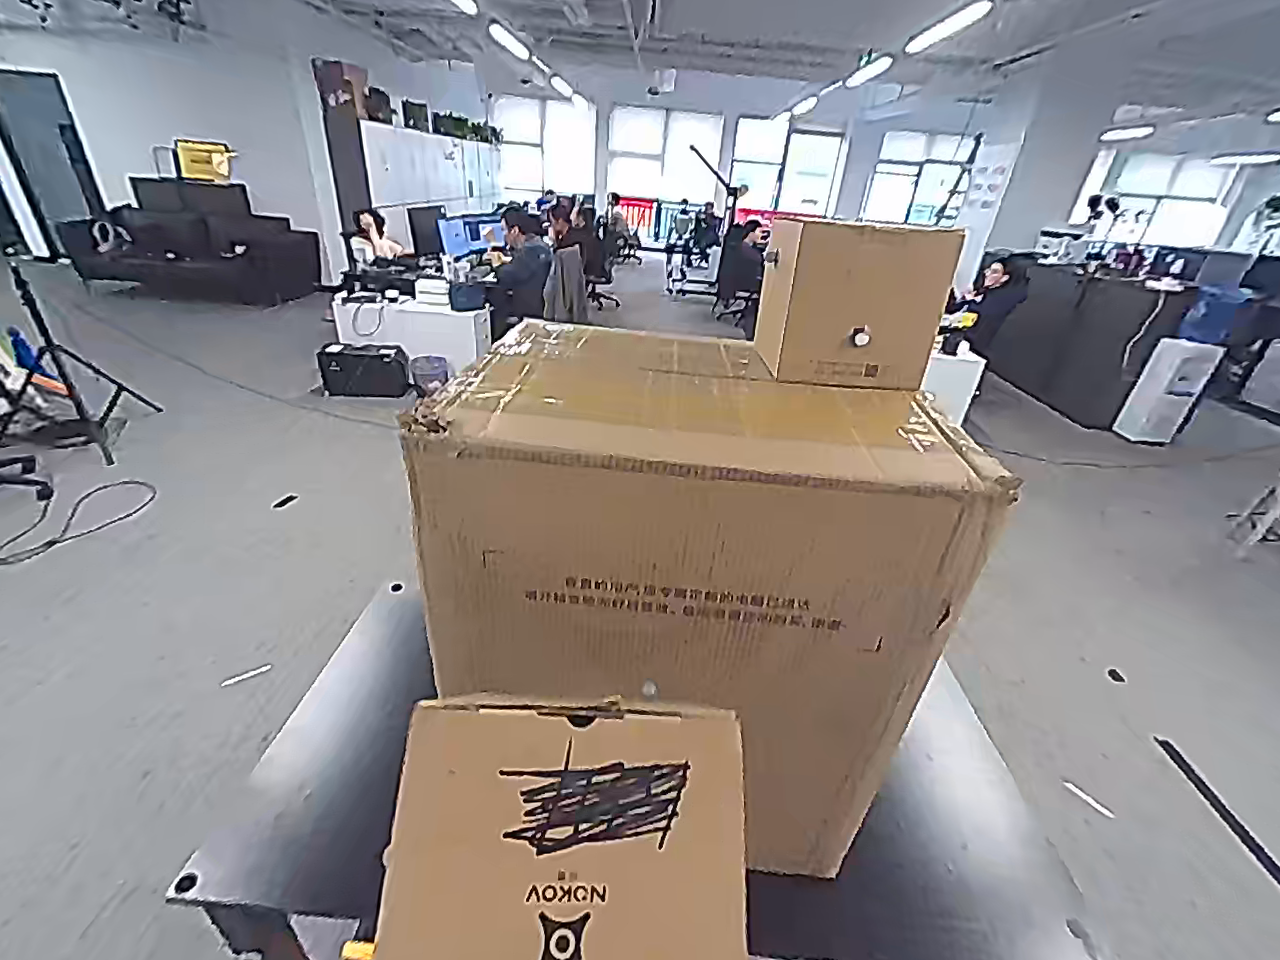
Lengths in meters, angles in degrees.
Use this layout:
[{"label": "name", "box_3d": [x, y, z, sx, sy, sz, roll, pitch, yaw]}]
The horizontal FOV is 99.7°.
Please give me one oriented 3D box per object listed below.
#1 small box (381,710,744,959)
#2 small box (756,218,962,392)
[{"label": "small box", "box_3d": [-0.042, 0.235, 0.321, 0.168, 0.176, 0.179, 5, 68, -4]}, {"label": "small box", "box_3d": [0.243, -0.216, 0.654, 0.168, 0.176, 0.179, 4, 27, 1]}]
